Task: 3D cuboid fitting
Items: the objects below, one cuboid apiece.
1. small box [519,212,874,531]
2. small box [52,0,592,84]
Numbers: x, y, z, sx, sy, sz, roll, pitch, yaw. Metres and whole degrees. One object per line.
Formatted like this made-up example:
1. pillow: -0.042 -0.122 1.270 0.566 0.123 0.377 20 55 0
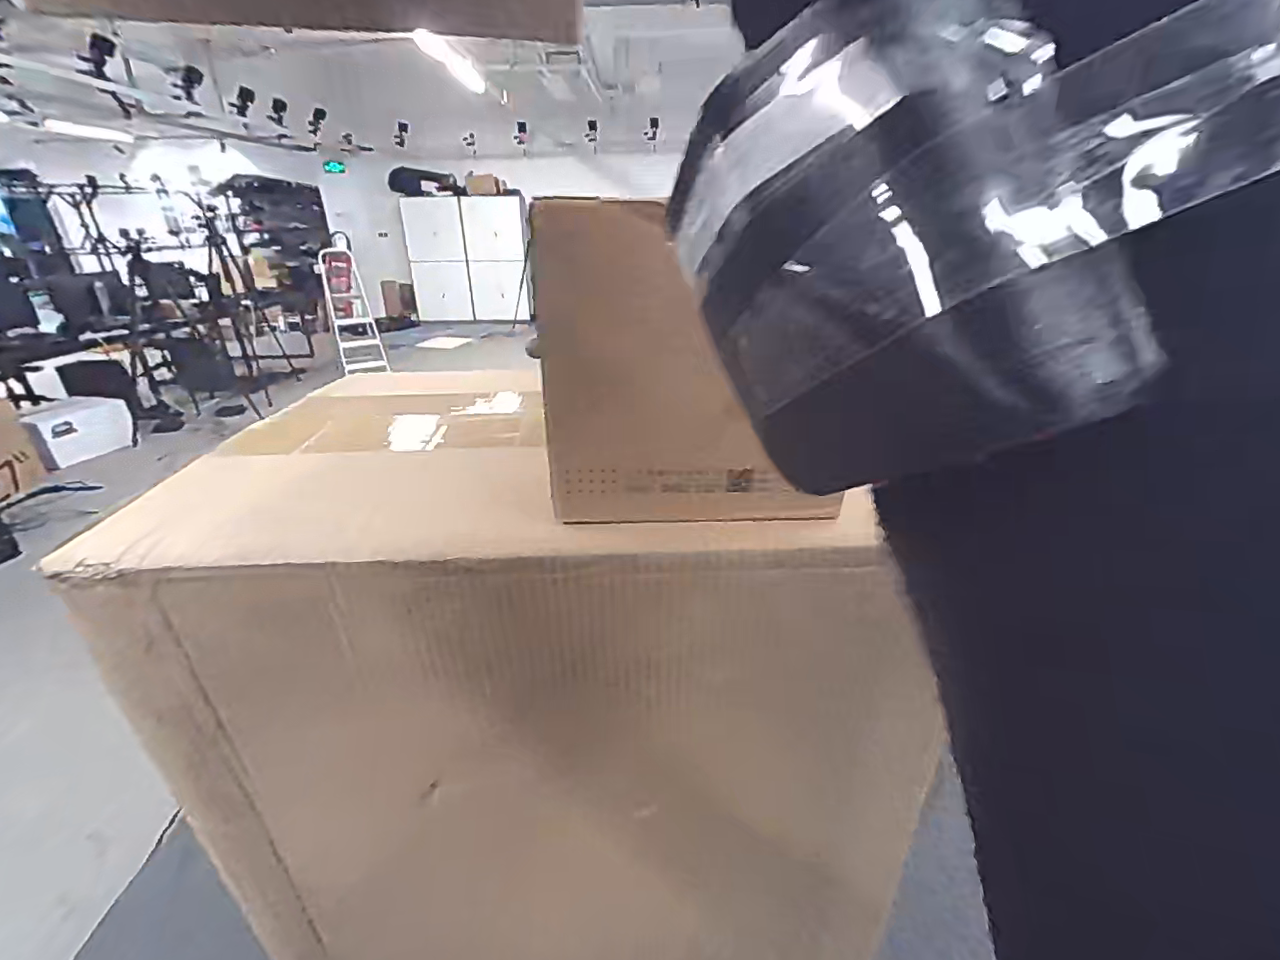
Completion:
1. small box: 0.026 -0.078 0.352 0.168 0.176 0.179 0 26 -1
2. small box: -0.107 -0.253 0.191 0.179 0.176 0.168 -4 42 -10
